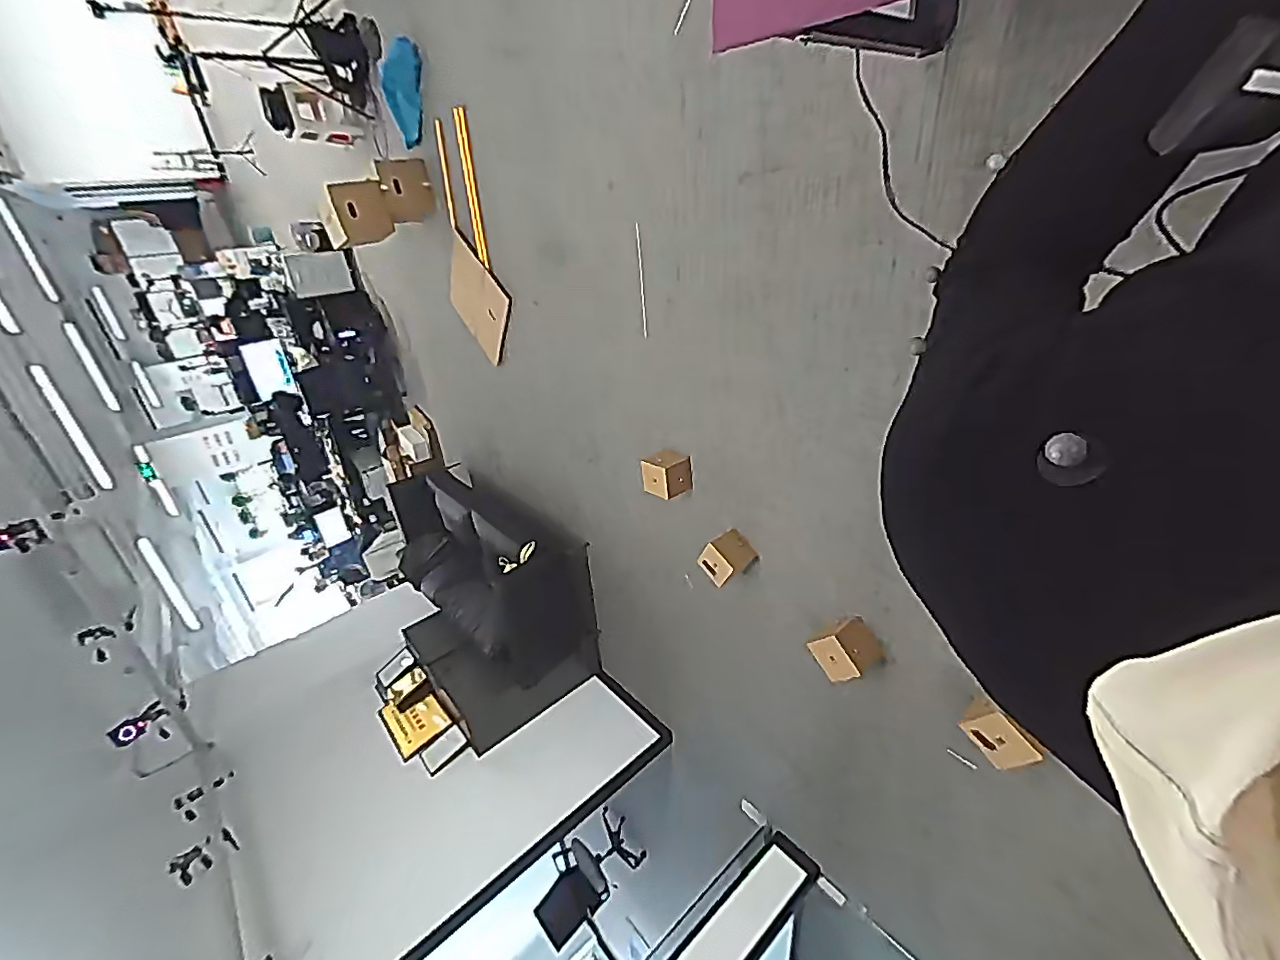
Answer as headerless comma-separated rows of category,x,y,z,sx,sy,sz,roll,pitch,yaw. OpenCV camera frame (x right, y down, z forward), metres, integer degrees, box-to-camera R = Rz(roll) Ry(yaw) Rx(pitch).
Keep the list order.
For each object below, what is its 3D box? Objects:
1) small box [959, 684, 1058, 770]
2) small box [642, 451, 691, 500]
small box,1.172,0.781,1.715,0.168,0.176,0.179,51,144,19
small box,0.135,-0.027,2.620,0.179,0.176,0.168,22,127,46
